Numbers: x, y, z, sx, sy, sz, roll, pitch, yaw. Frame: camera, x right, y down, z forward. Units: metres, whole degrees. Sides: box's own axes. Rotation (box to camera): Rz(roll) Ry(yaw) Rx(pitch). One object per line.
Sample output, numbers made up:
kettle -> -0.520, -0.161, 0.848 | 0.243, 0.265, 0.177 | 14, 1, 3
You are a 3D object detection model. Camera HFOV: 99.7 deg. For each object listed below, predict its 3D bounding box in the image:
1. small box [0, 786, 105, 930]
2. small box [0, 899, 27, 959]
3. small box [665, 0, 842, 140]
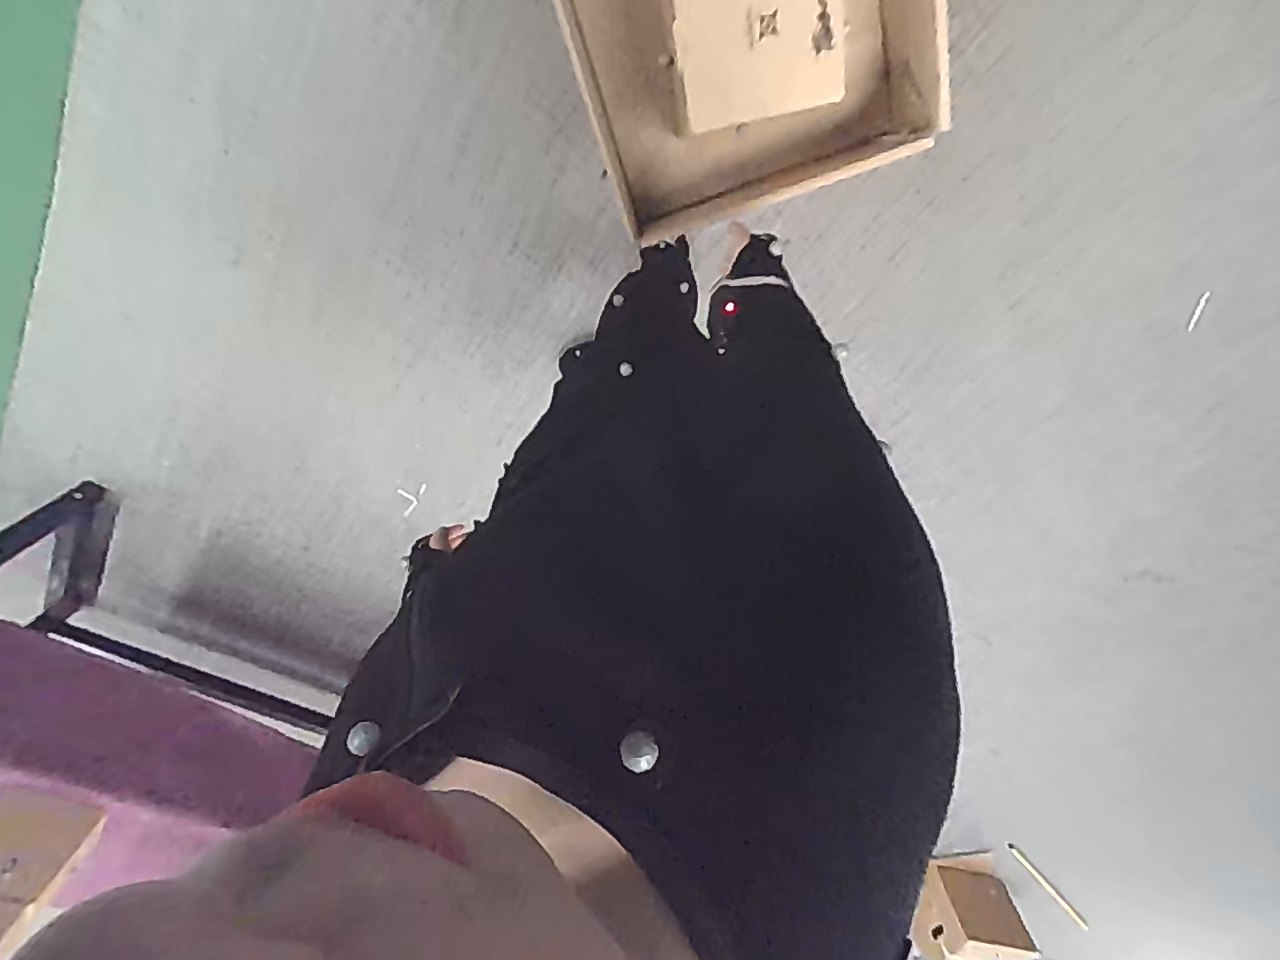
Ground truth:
small box -> -1.222, 0.737, 1.063 | 0.179, 0.176, 0.168 | 33, 115, -19
small box -> -1.224, 0.826, 0.925 | 0.168, 0.176, 0.179 | 31, 117, -17
small box -> 0.125, -0.511, 0.635 | 0.179, 0.176, 0.168 | -9, 121, 6
